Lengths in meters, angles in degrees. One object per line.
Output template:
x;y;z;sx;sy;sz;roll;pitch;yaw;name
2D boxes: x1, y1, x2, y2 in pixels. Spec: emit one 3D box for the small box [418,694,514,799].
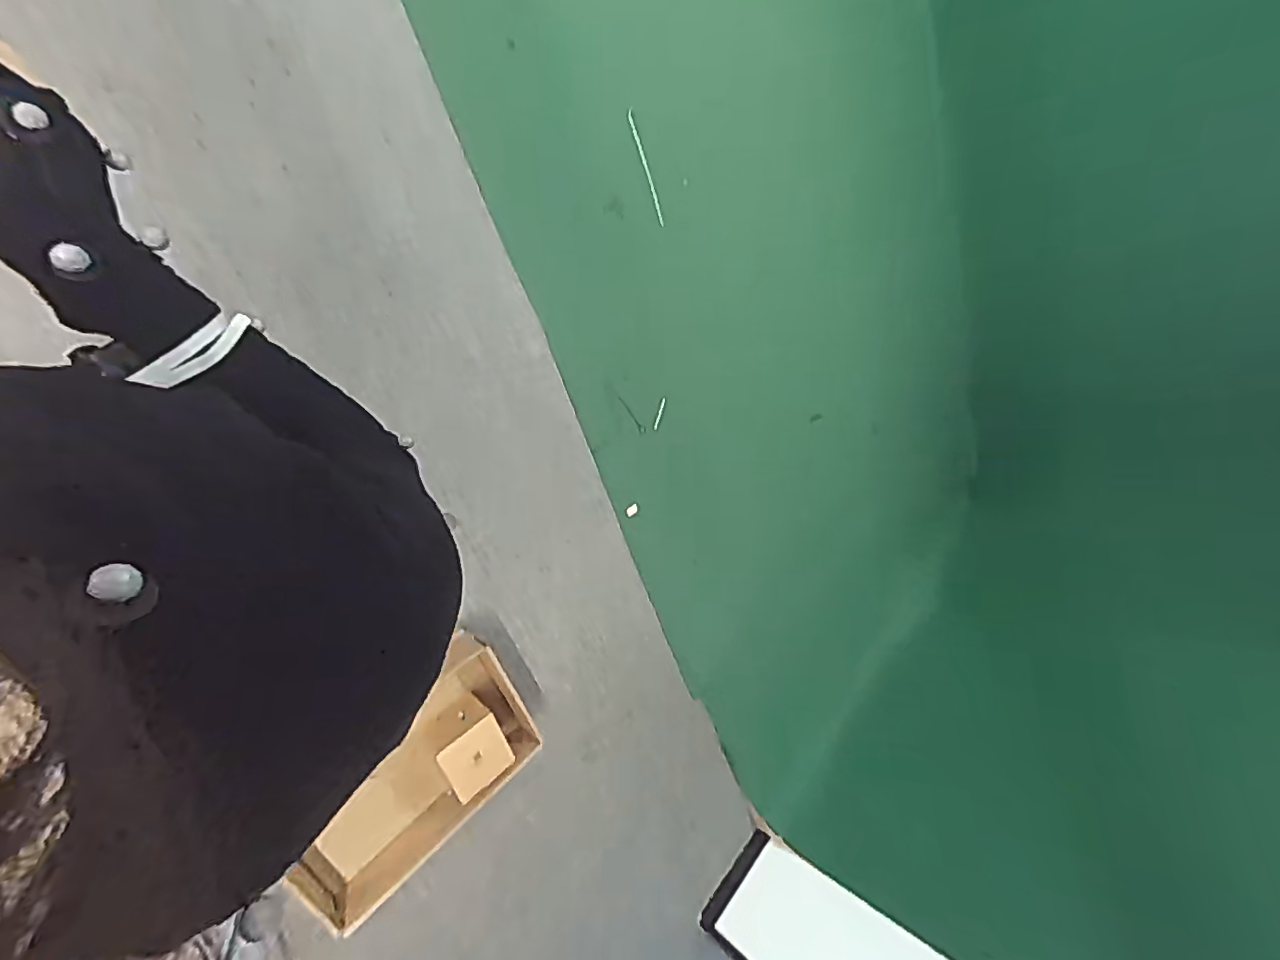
-0.482;0.718;1.486;0.168;0.176;0.179;-31;114;-33;small box
